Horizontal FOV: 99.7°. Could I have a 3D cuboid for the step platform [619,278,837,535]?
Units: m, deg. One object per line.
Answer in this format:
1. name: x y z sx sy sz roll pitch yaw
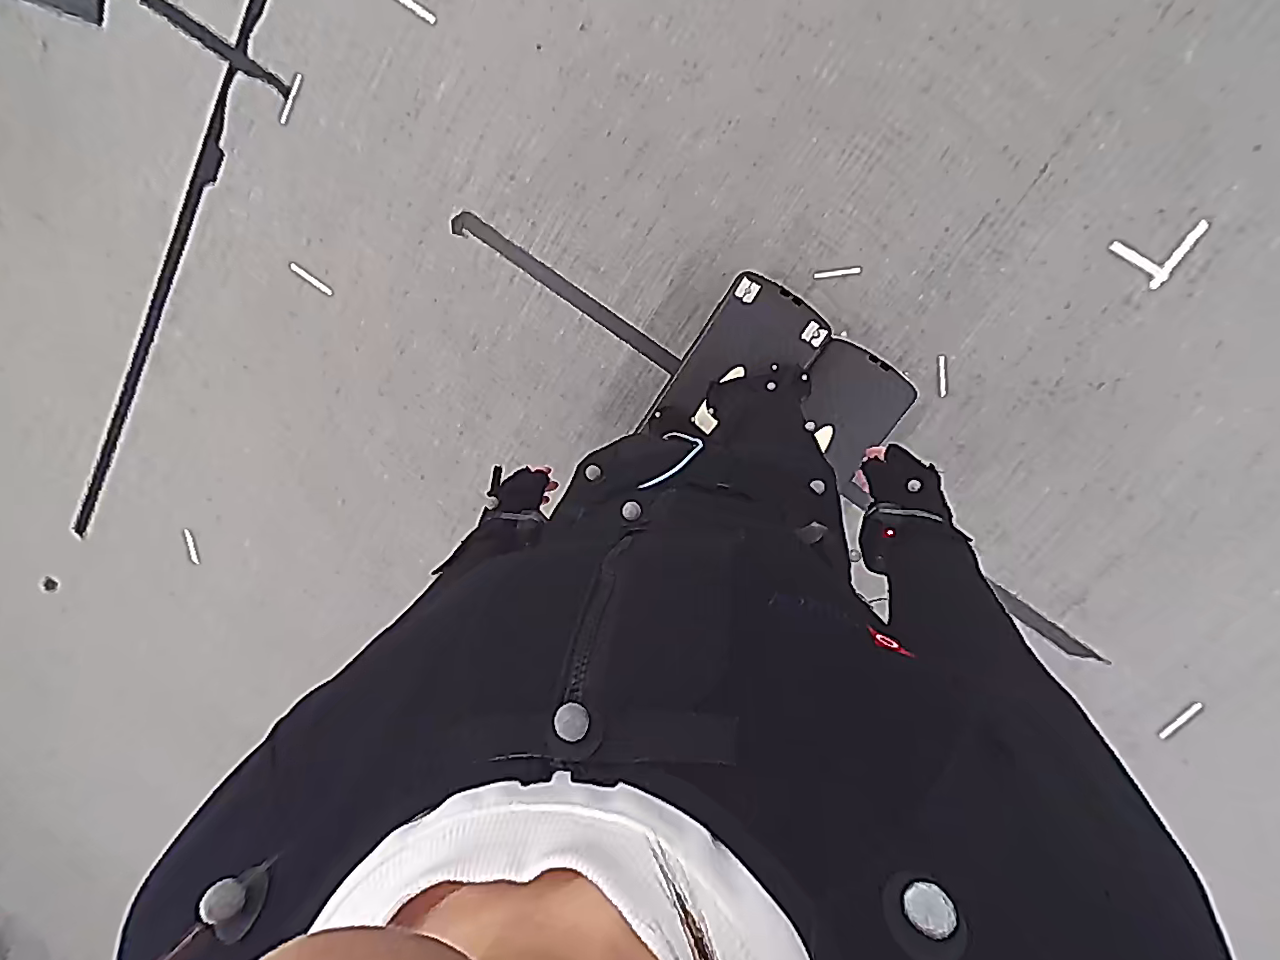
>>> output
1. step platform: 0.223 -0.188 1.473 0.286 0.204 0.684 33 104 0
